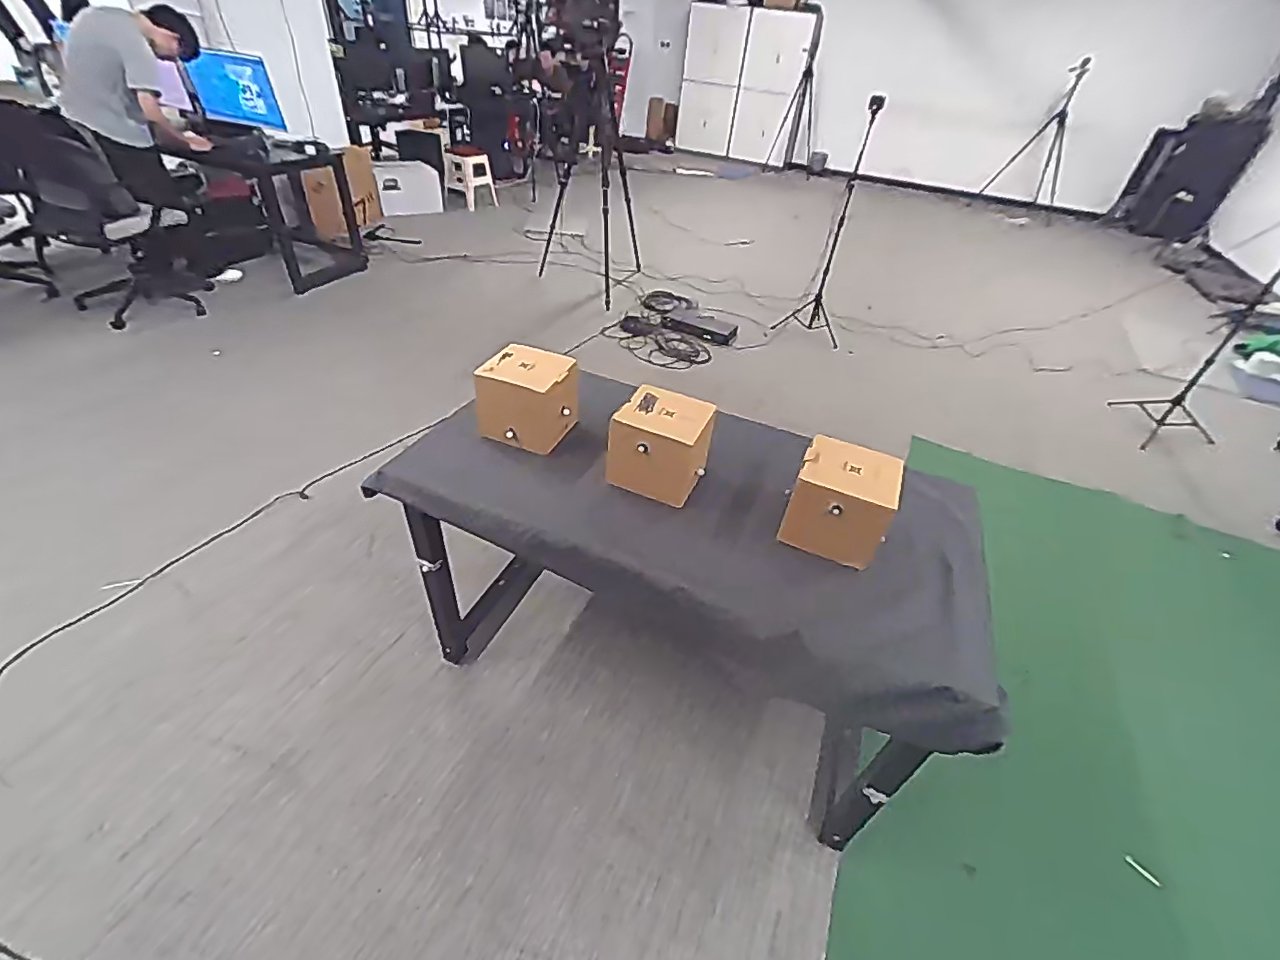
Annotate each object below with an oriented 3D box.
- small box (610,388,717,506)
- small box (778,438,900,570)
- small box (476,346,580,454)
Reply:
[{"bbox_3d":[0.046,-0.070,1.161,0.179,0.176,0.168,20,41,14],"label":"small box"},{"bbox_3d":[0.389,0.049,1.070,0.179,0.176,0.168,21,42,15],"label":"small box"},{"bbox_3d":[-0.255,-0.183,1.255,0.179,0.176,0.168,18,41,12],"label":"small box"}]
